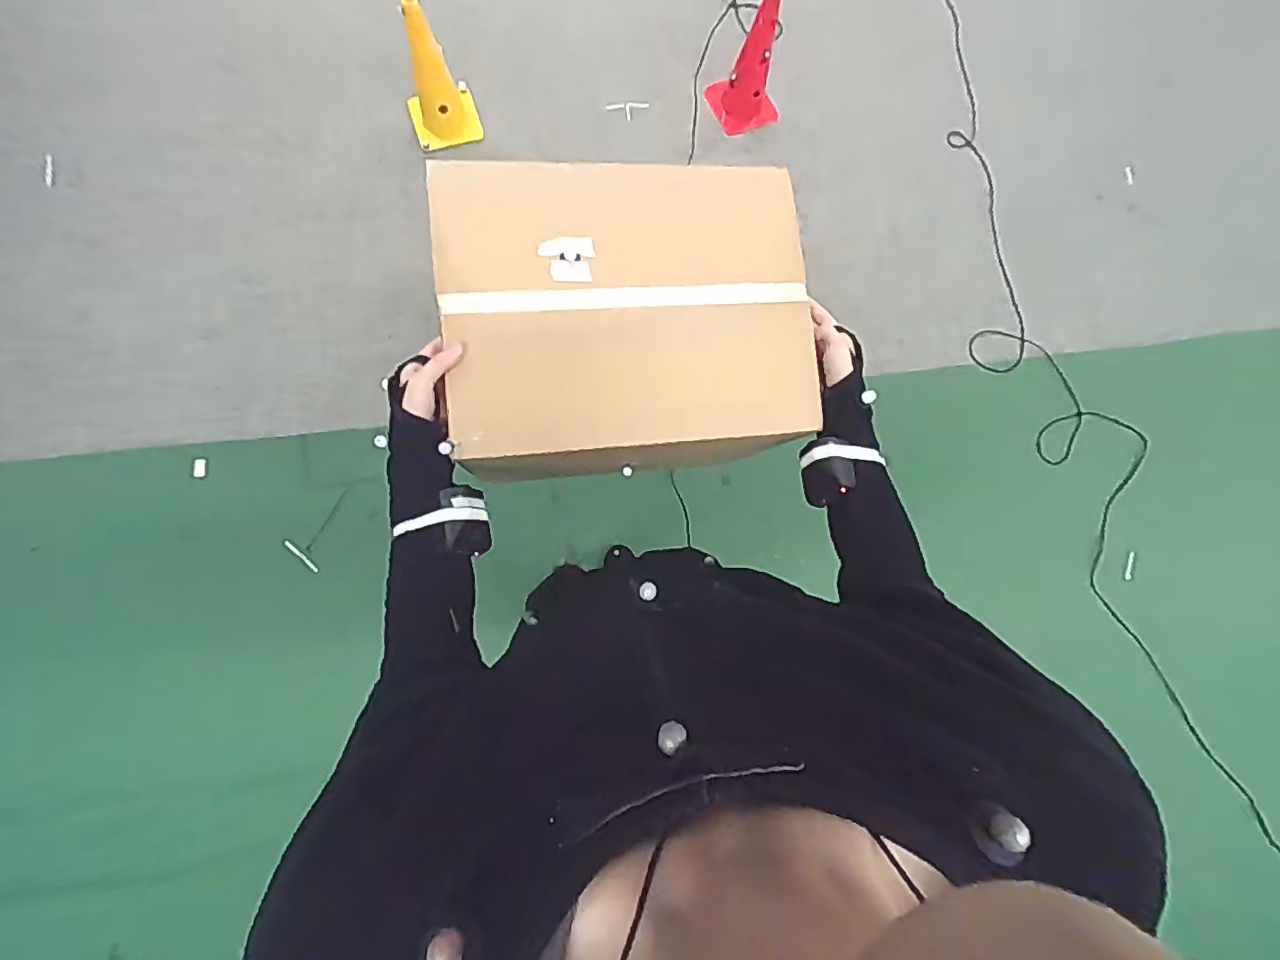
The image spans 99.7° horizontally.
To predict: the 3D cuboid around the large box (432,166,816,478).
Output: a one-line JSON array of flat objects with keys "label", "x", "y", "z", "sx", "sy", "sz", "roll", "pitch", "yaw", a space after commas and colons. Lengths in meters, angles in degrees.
[{"label": "large box", "x": -0.032, "y": -0.184, "z": 0.738, "sx": 0.408, "sy": 0.320, "sz": 0.320, "roll": -6, "pitch": 85, "yaw": -10}]
